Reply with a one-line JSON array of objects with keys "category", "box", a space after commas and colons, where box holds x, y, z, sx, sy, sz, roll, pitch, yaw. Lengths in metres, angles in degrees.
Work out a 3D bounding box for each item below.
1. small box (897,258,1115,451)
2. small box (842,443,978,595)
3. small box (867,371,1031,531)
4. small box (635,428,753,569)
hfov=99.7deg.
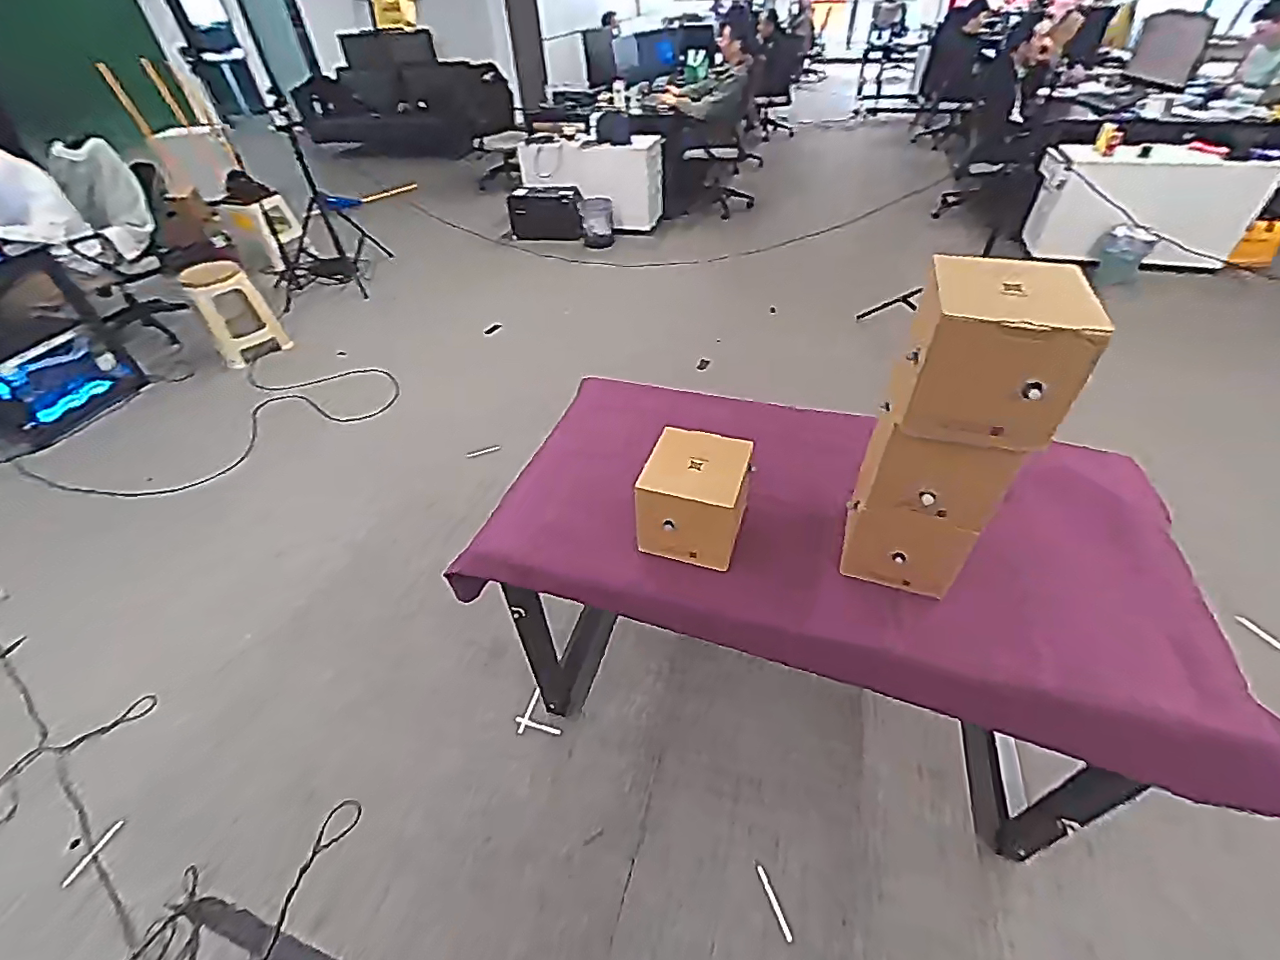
[{"category": "small box", "box": [0.435, -0.158, 0.681, 0.168, 0.176, 0.179, 11, 44, 14]}, {"category": "small box", "box": [0.450, 0.067, 0.917, 0.168, 0.176, 0.179, 13, 45, 17]}, {"category": "small box", "box": [0.447, -0.055, 0.807, 0.168, 0.176, 0.179, 13, 46, 17]}, {"category": "small box", "box": [0.100, 0.034, 0.974, 0.168, 0.176, 0.179, 12, 44, 15]}]
